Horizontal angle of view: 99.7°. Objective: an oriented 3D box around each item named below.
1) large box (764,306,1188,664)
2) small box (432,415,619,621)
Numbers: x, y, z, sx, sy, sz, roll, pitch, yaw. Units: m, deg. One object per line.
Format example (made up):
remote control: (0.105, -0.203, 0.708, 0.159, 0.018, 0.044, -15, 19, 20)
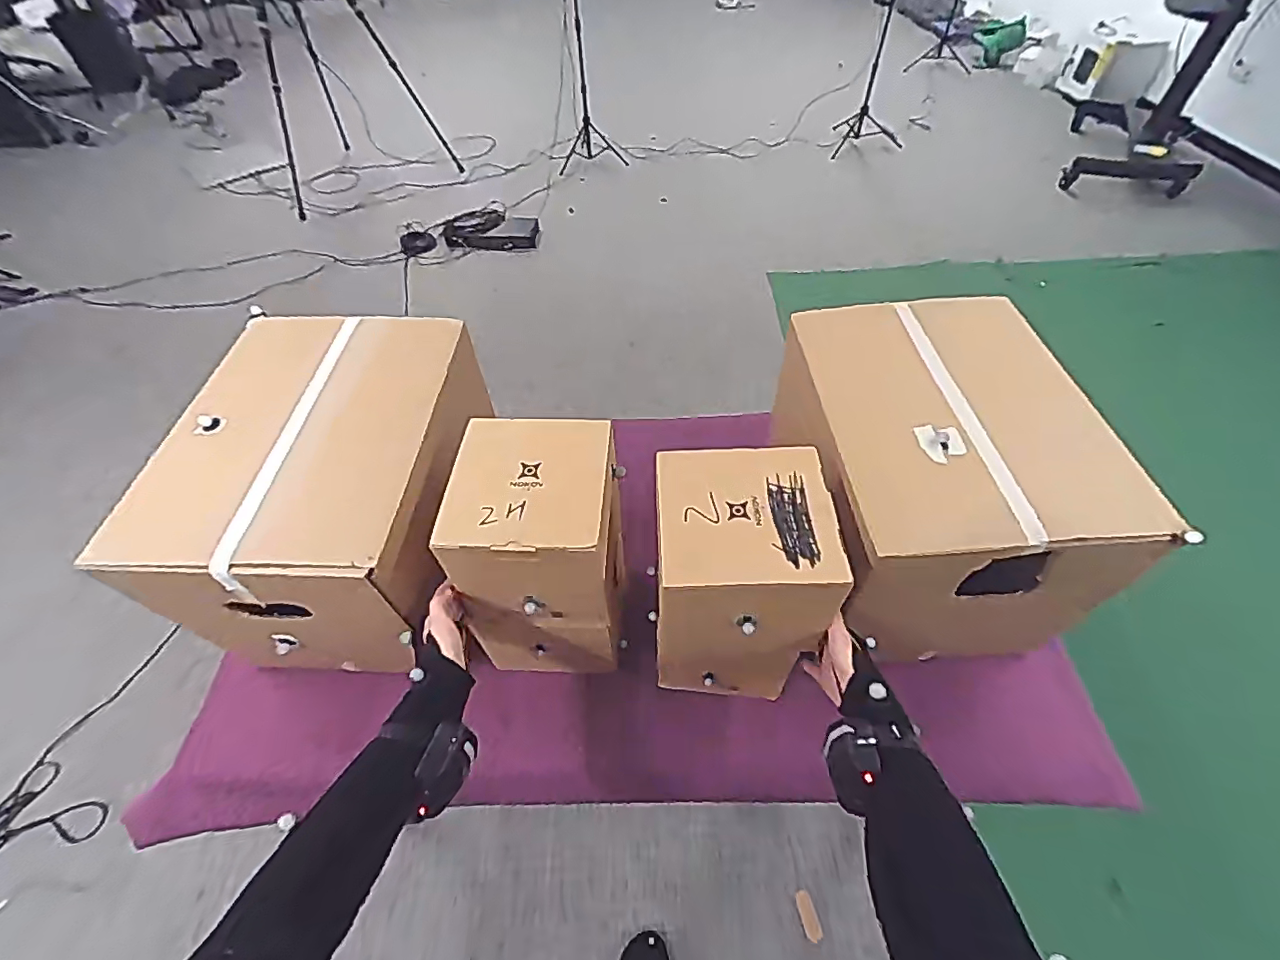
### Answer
large box: (0.385, 0.007, 0.770, 0.320, 0.320, 0.408, -5, 52, 1)
small box: (-0.114, 0.045, 0.631, 0.168, 0.176, 0.179, 1, 51, 3)
